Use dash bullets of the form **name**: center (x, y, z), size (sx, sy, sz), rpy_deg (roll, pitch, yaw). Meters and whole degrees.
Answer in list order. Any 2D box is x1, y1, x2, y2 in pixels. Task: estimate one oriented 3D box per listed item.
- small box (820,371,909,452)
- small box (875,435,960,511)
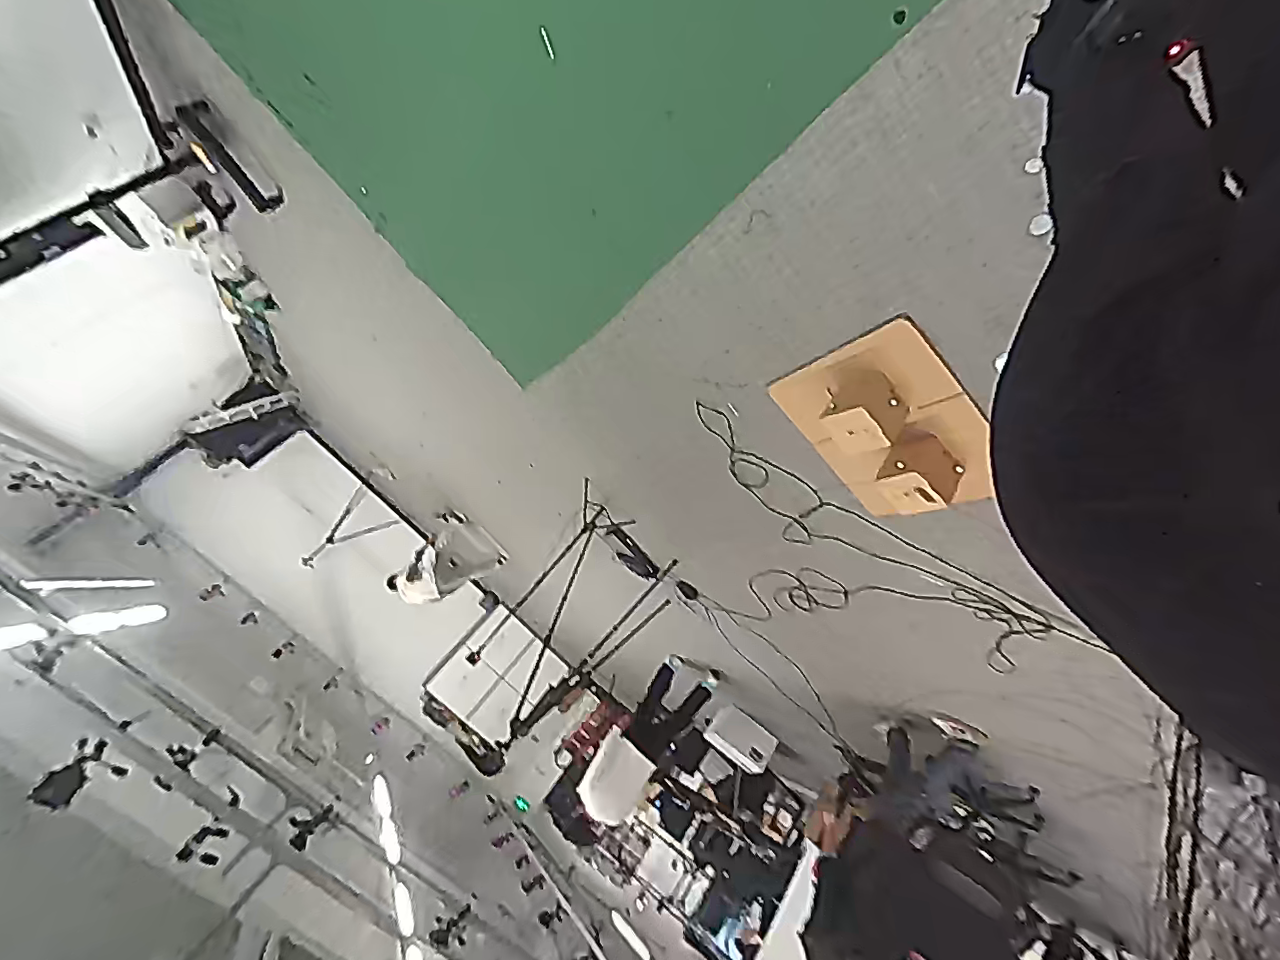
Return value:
- **small box**: center (0.723, -0.219, 1.735), size (0.168, 0.176, 0.179), rpy_deg (47, 152, -16)
- **small box**: center (0.919, -0.023, 1.775), size (0.168, 0.176, 0.179), rpy_deg (45, 154, -10)
